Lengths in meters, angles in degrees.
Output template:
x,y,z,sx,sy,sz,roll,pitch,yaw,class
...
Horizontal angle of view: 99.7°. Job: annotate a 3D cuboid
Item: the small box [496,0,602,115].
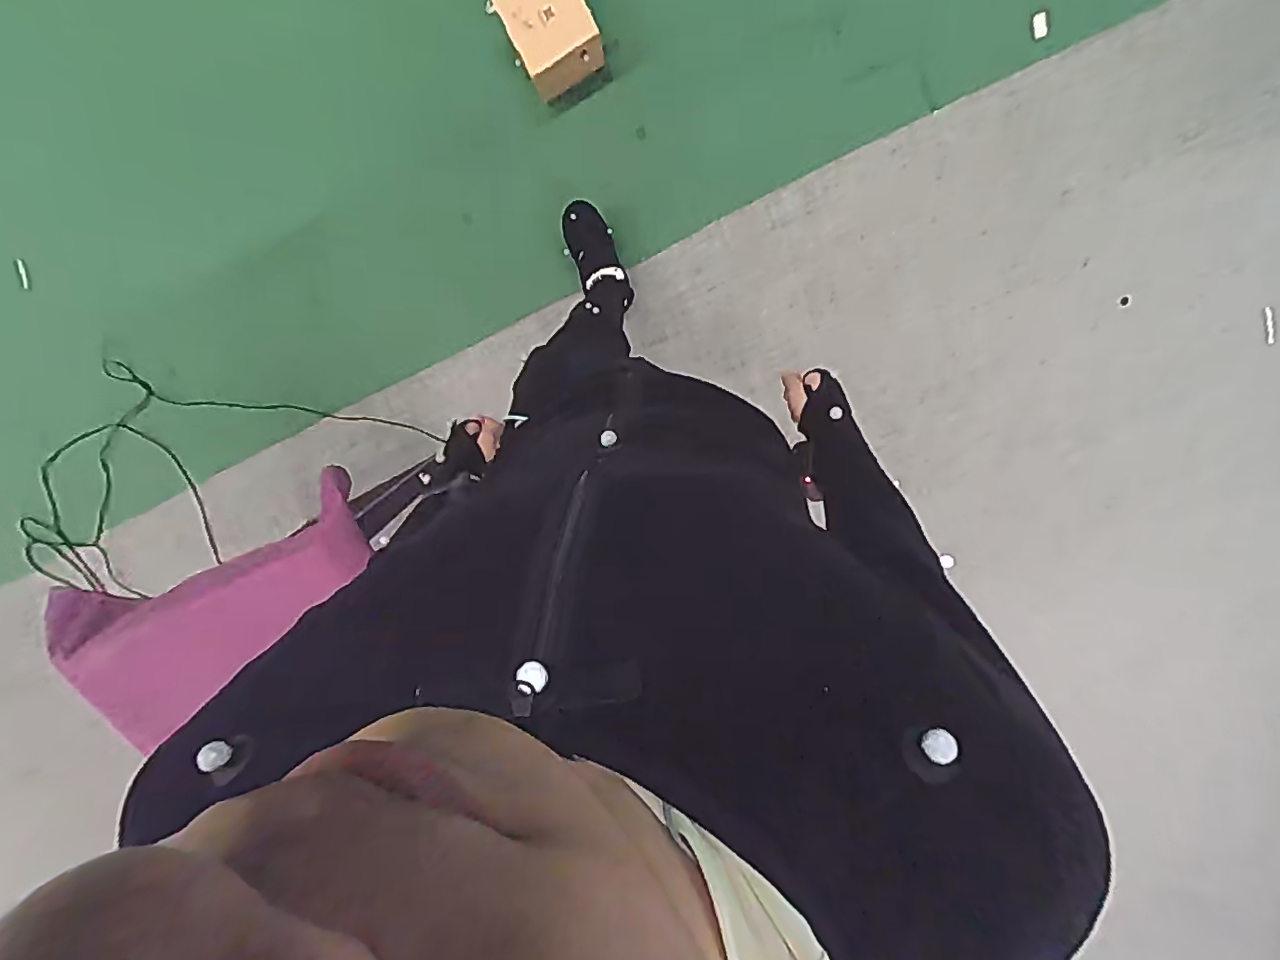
x,y,z,sx,sy,sz,roll,pitch,yaw,class
-0.198,-0.990,1.242,0.179,0.176,0.168,-28,105,9,small box
